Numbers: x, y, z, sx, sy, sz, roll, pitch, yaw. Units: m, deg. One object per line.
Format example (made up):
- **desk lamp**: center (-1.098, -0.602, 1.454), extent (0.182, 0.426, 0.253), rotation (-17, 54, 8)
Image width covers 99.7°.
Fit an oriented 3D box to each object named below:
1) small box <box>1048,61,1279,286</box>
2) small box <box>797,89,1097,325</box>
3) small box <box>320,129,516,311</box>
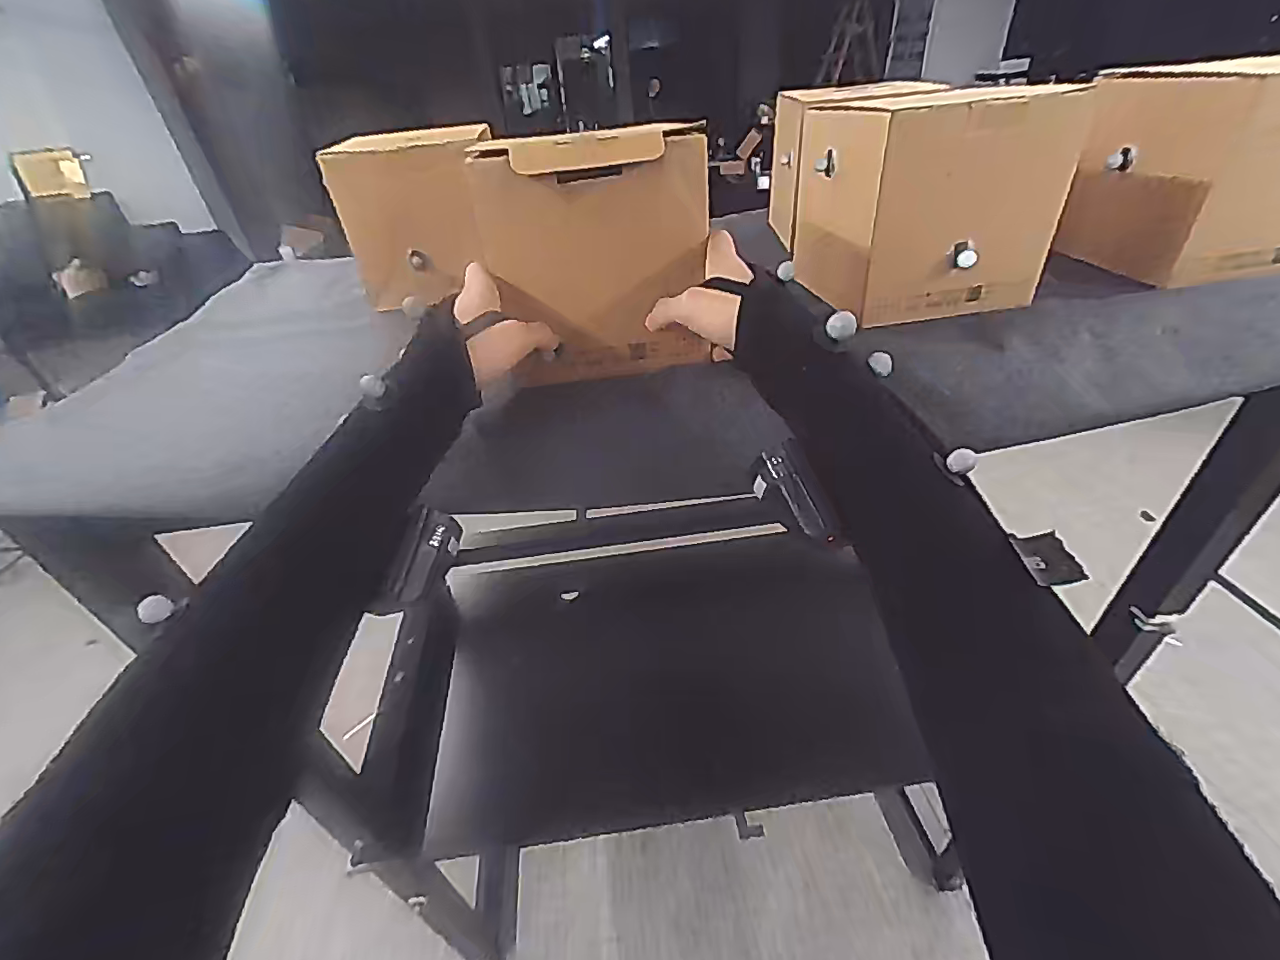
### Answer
- **small box**: center (0.556, -0.301, 0.530), extent (0.168, 0.176, 0.179), rotation (-8, 36, -1)
- **small box**: center (0.259, -0.260, 0.515), extent (0.168, 0.176, 0.179), rotation (-8, 36, -3)
- **small box**: center (-0.254, -0.324, 0.671), extent (0.168, 0.176, 0.179), rotation (-9, 38, -4)
